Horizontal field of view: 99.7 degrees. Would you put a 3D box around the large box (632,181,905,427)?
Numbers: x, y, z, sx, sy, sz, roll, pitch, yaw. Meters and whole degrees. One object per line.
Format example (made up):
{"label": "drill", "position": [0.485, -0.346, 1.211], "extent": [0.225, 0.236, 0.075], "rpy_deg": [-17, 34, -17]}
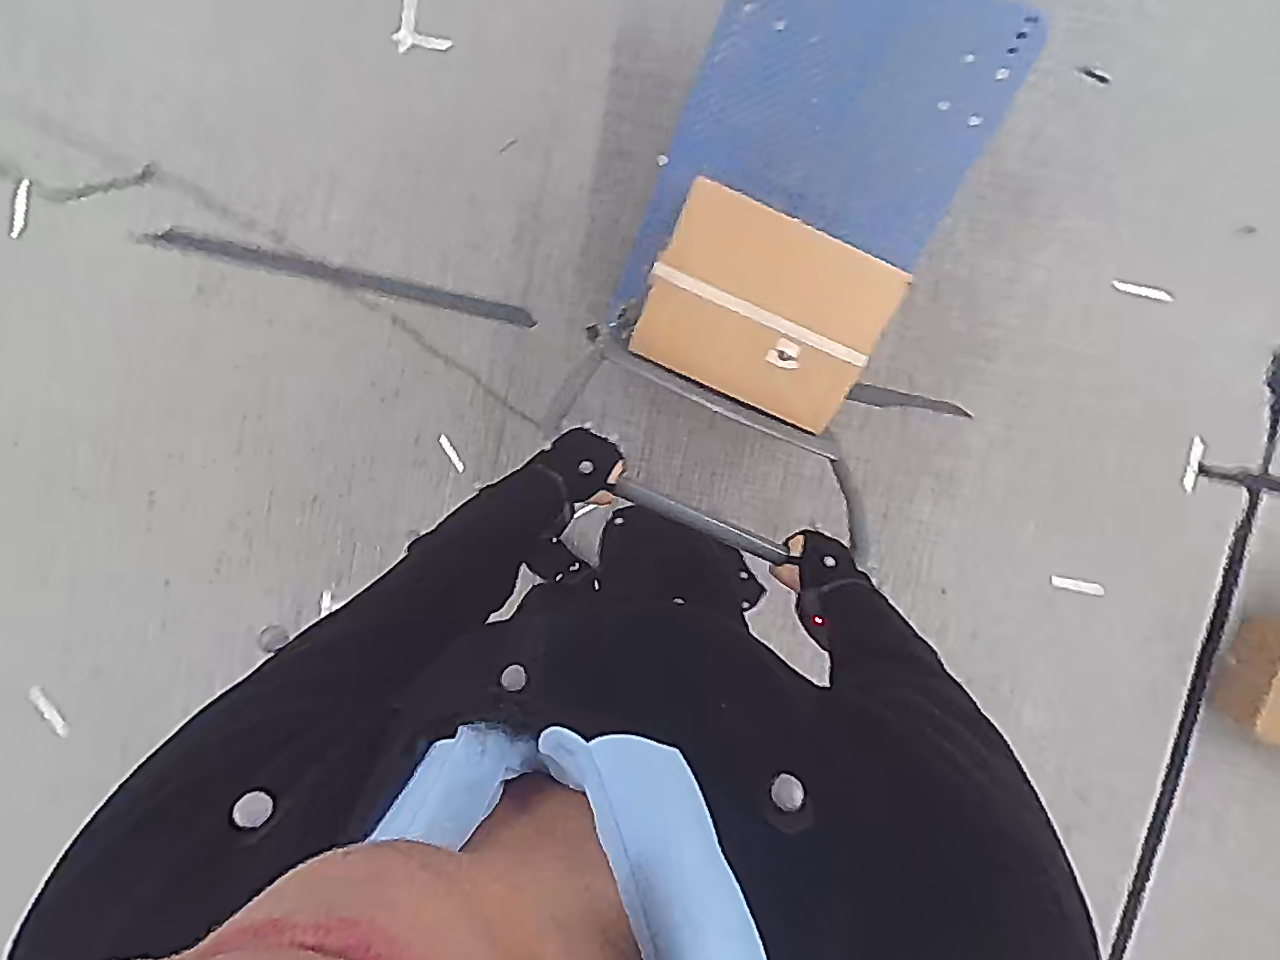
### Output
{"label": "large box", "position": [0.233, -0.362, 1.114], "extent": [0.408, 0.320, 0.320], "rpy_deg": [23, 115, -4]}
